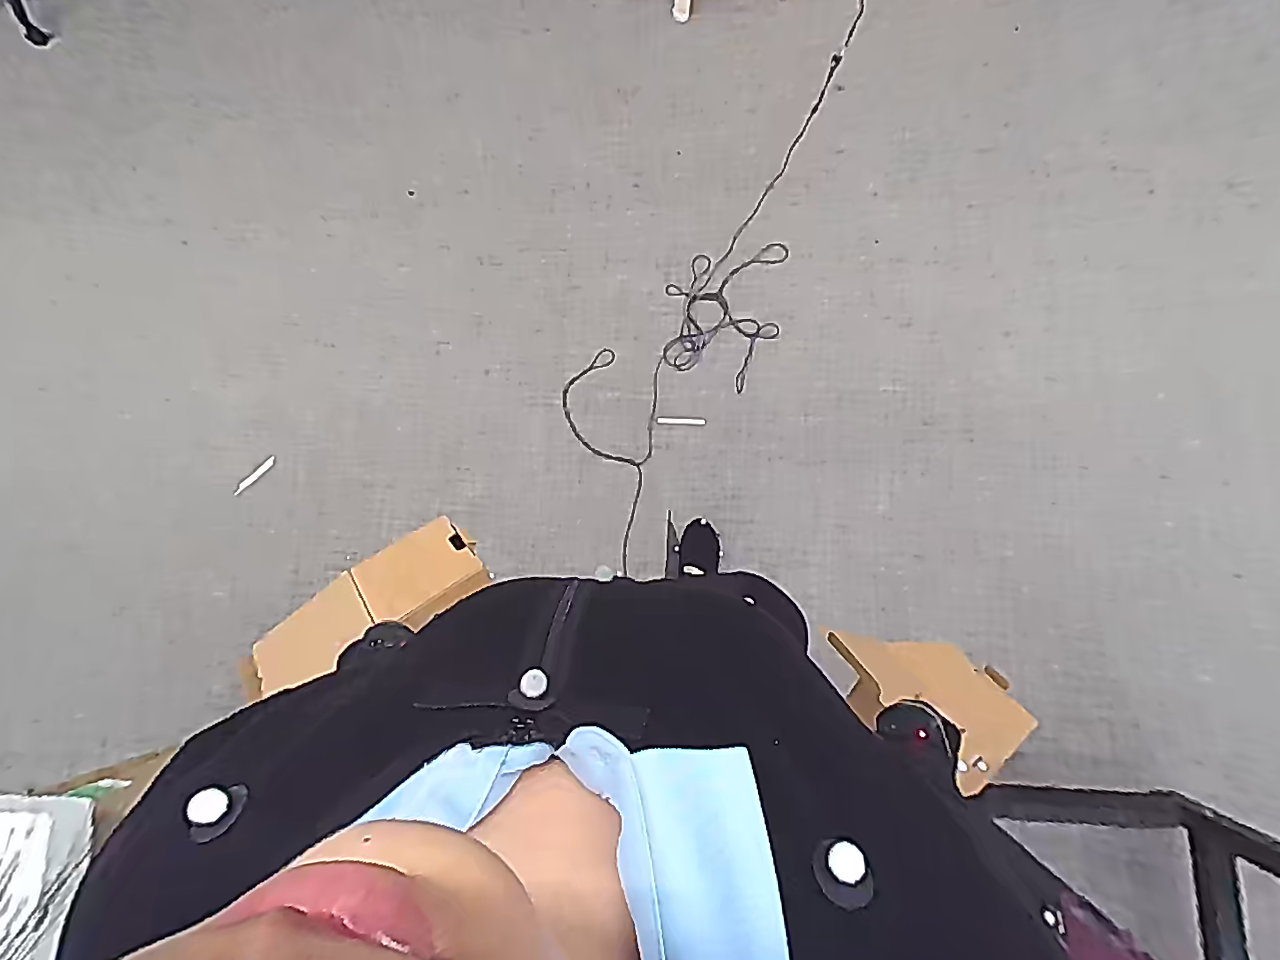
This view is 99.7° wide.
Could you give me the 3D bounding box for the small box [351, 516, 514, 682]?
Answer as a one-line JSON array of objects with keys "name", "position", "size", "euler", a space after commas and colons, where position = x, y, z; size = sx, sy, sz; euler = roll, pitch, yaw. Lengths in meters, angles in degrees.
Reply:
[{"name": "small box", "position": [-0.342, 0.200, 0.909], "size": [0.179, 0.176, 0.168], "euler": [-33, 45, -23]}]
